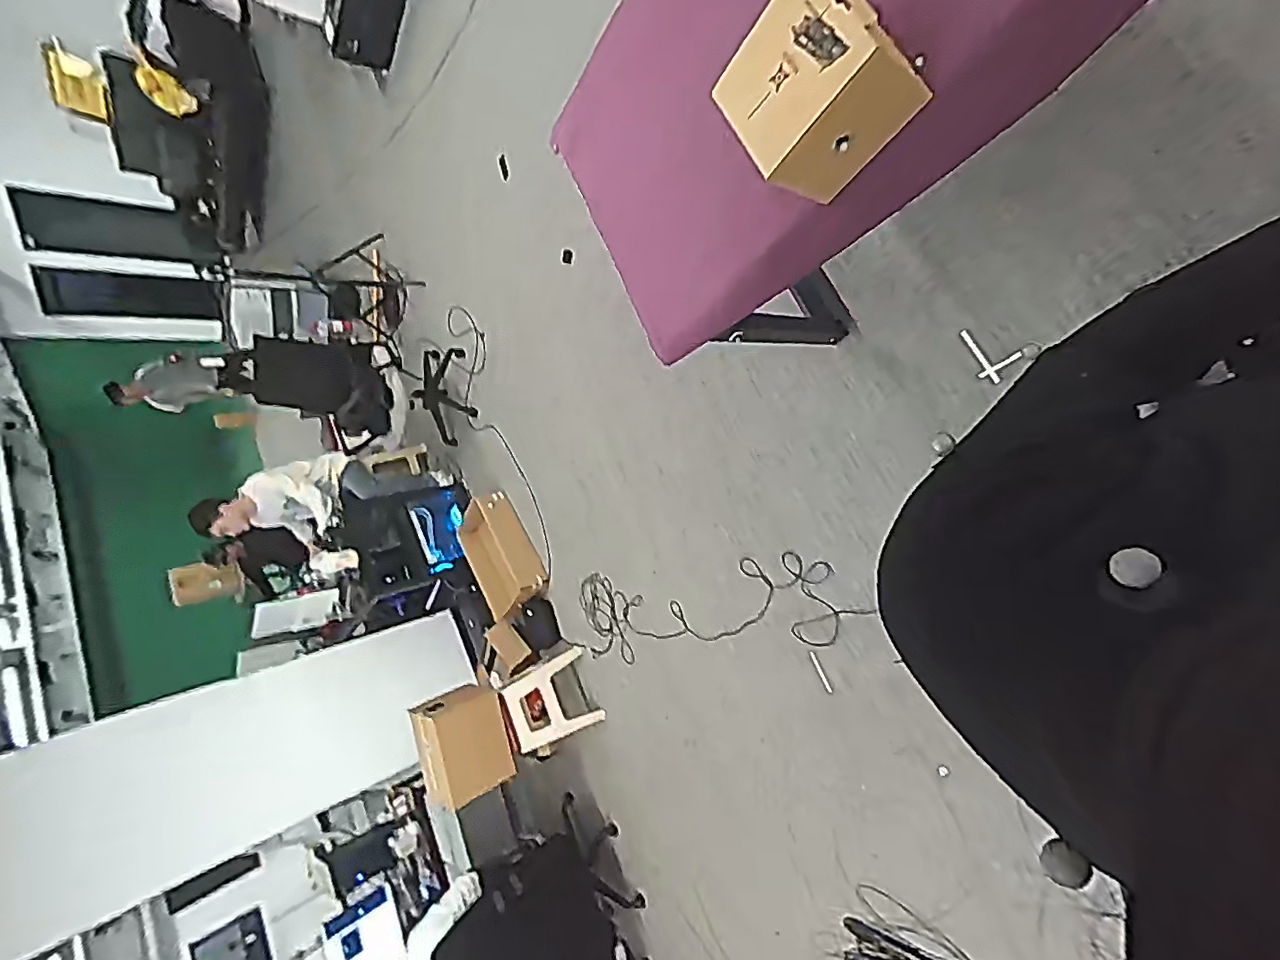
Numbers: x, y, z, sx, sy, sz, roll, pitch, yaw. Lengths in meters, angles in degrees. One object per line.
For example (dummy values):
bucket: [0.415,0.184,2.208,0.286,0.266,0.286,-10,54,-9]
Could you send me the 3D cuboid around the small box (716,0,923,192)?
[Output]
small box: [0.240,-0.519,0.711,0.179,0.176,0.168,-40,69,45]
